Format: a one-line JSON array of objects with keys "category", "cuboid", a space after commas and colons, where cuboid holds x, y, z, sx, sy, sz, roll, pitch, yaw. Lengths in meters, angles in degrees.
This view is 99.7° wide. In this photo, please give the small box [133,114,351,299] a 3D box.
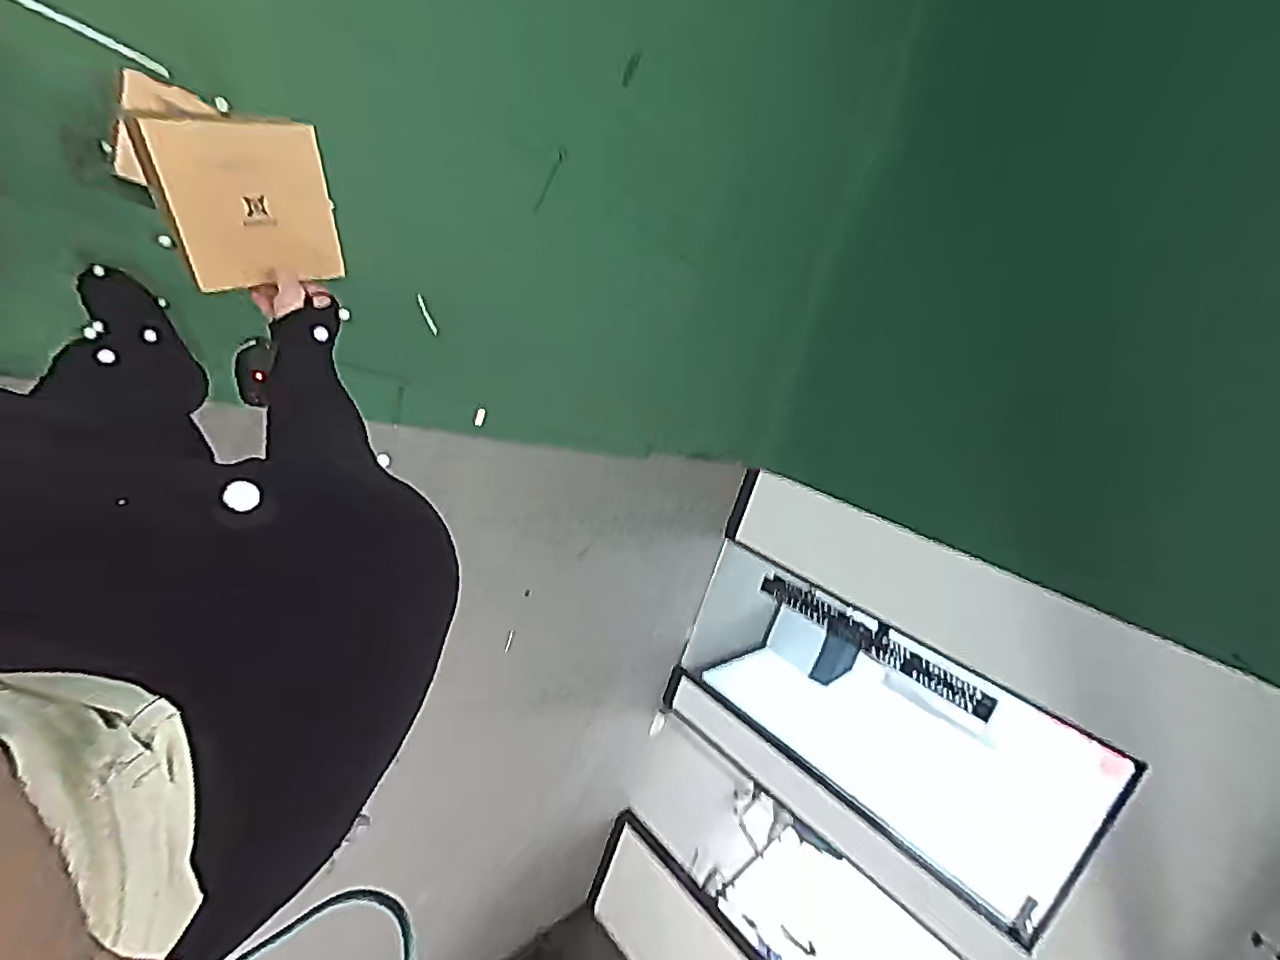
[{"category": "small box", "cuboid": [-0.498, -0.349, 0.686, 0.168, 0.176, 0.179, -25, 134, -36]}]
